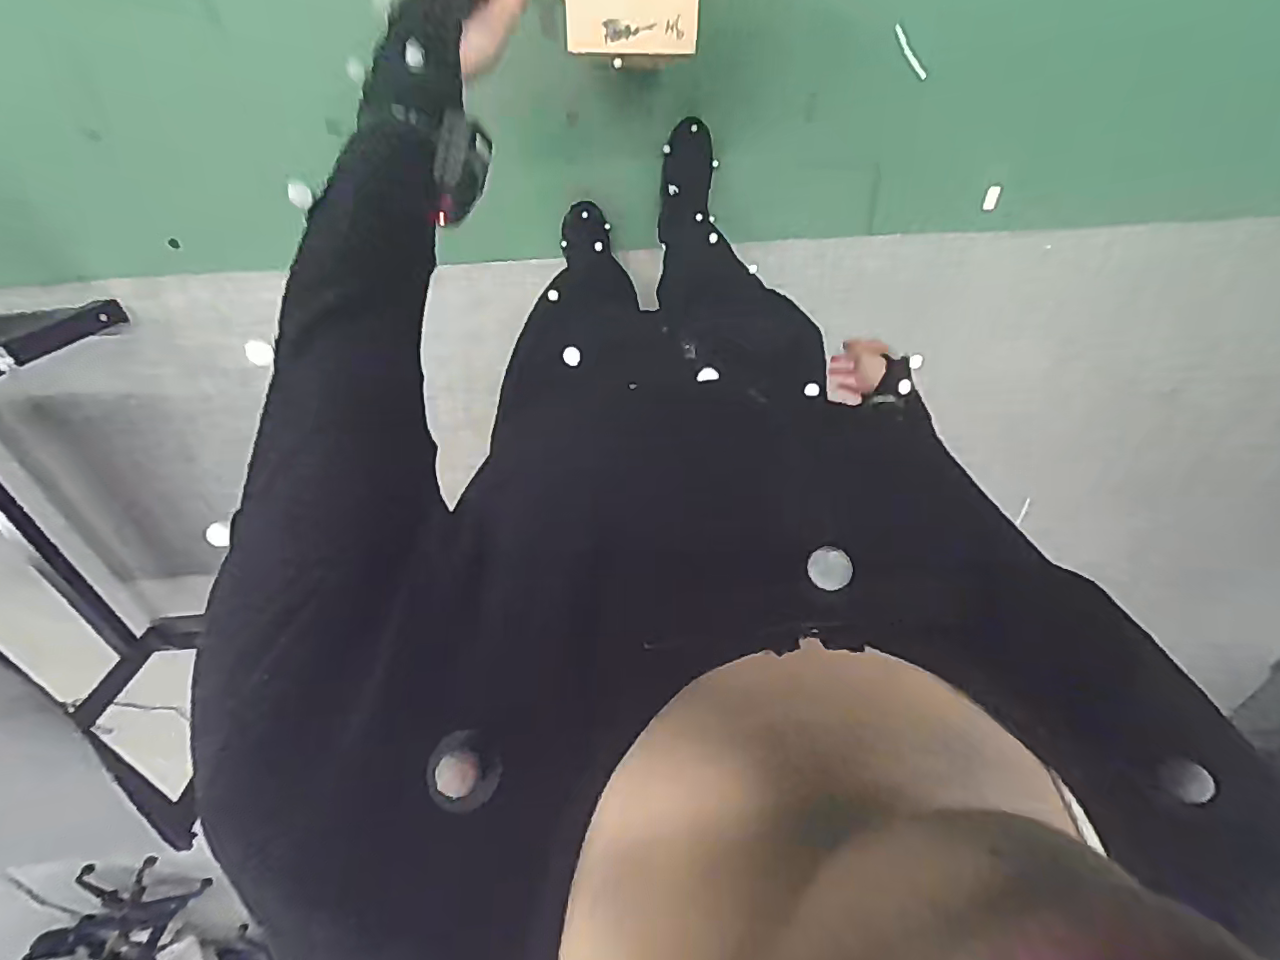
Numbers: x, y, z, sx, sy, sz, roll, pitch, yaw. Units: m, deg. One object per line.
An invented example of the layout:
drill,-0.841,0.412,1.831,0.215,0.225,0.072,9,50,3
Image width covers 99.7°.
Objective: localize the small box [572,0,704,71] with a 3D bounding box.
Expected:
small box,-0.007,-0.655,0.709,0.168,0.176,0.179,-1,124,-3
